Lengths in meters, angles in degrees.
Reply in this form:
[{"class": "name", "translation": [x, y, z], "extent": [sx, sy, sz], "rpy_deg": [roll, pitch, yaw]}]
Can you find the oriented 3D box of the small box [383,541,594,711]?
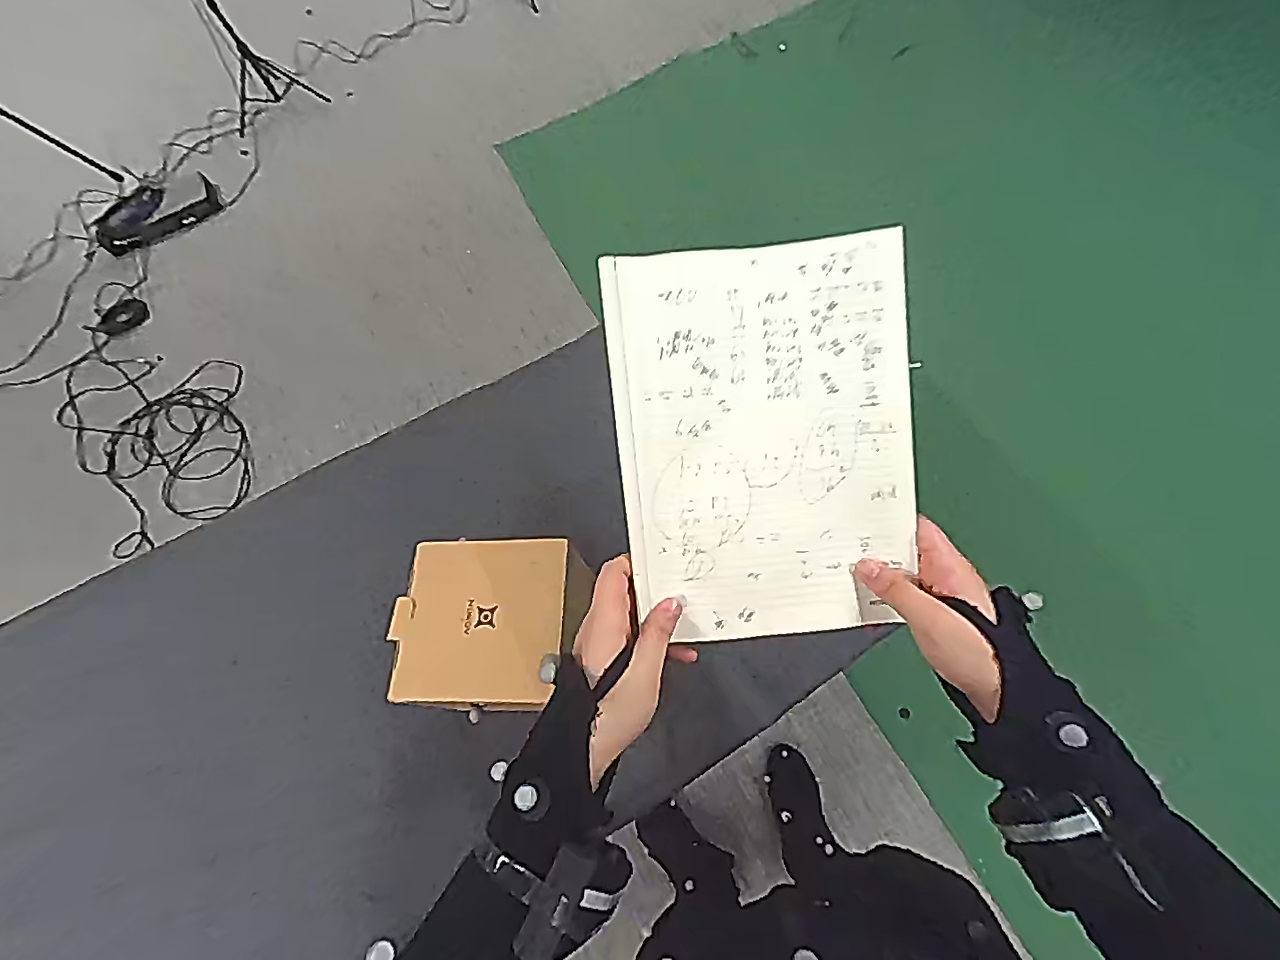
[{"class": "small box", "translation": [-0.154, 0.173, 0.622], "extent": [0.179, 0.176, 0.168], "rpy_deg": [-3, 65, 8]}]
